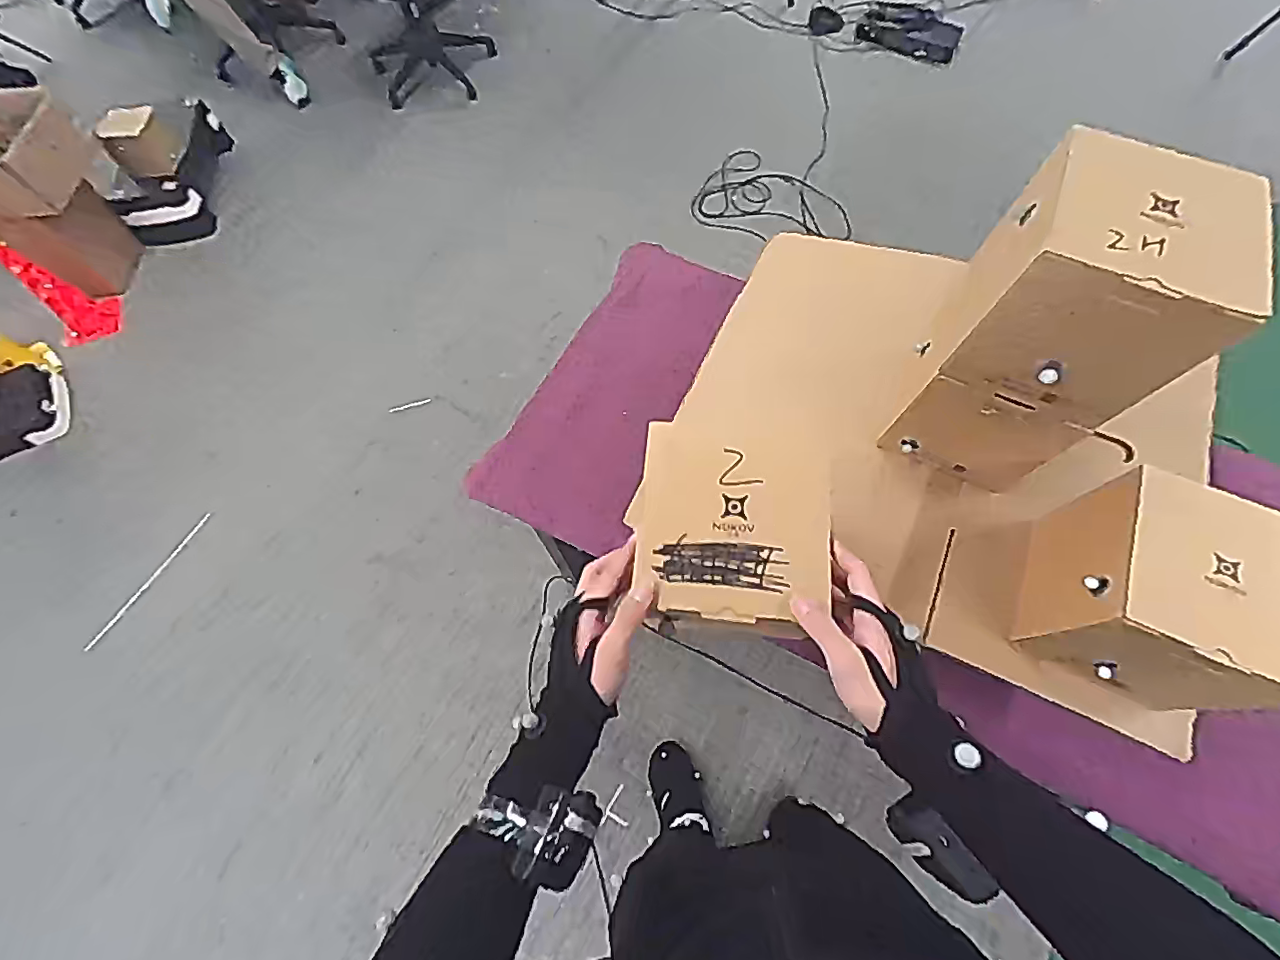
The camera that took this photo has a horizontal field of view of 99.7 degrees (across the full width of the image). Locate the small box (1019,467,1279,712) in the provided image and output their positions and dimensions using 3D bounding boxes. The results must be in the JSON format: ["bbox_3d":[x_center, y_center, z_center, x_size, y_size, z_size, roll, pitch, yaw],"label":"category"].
[{"bbox_3d":[0.538,0.120,0.564,0.168,0.176,0.179,24,69,10],"label":"small box"}]

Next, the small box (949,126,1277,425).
[{"bbox_3d":[0.430,-0.185,0.517,0.168,0.176,0.179,24,69,10],"label":"small box"}]

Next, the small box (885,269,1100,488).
[{"bbox_3d":[0.428,-0.116,0.666,0.168,0.176,0.179,24,67,9],"label":"small box"}]
